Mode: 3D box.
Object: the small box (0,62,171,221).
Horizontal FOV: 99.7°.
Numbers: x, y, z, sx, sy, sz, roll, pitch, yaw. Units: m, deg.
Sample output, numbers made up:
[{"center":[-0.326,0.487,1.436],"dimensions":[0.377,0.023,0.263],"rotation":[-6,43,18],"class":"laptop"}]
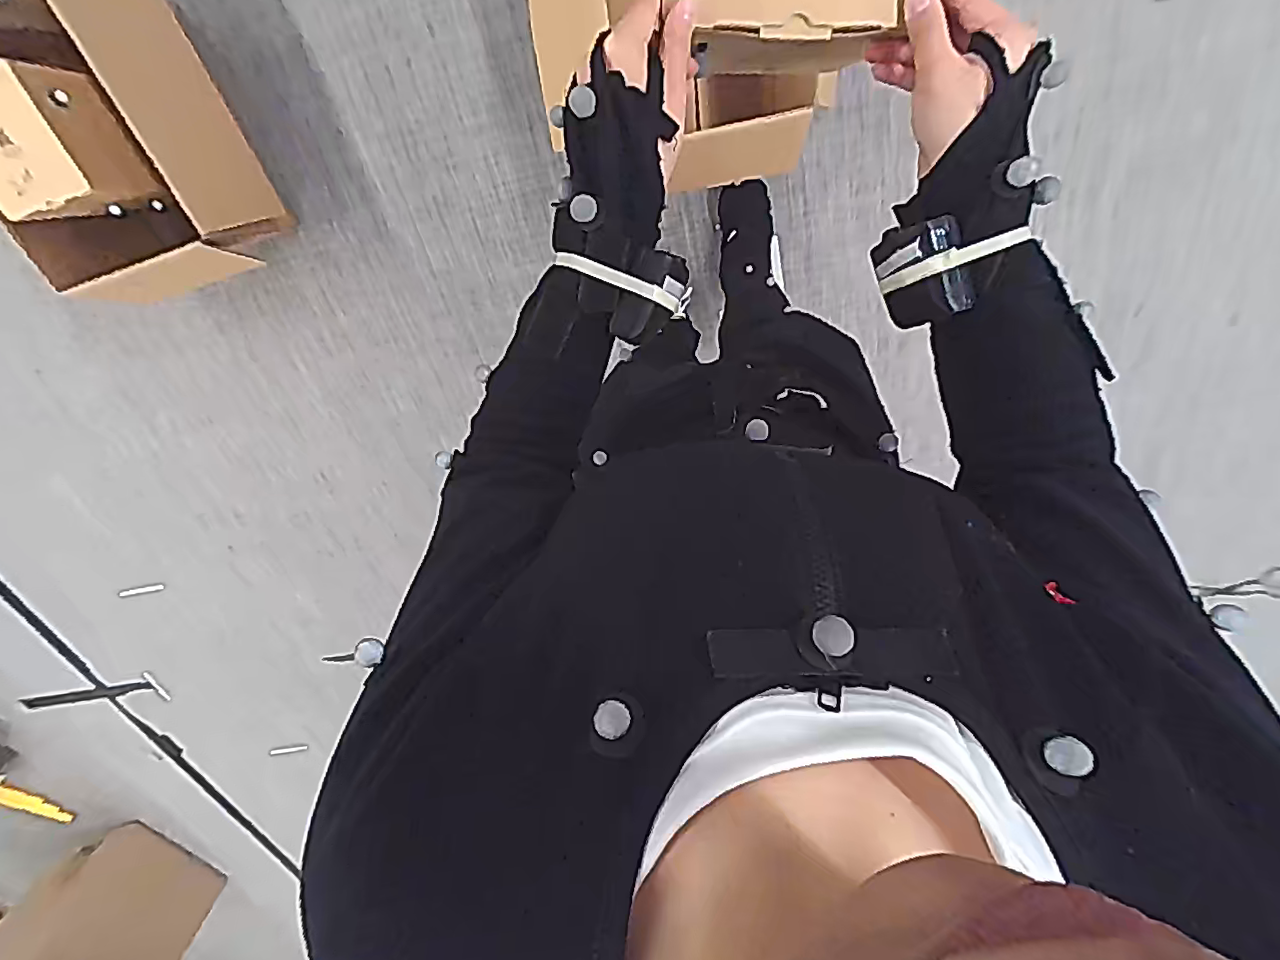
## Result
[{"center":[-0.949,-0.542,0.887],"dimensions":[0.168,0.176,0.179],"rotation":[-13,118,8],"class":"small box"}]
